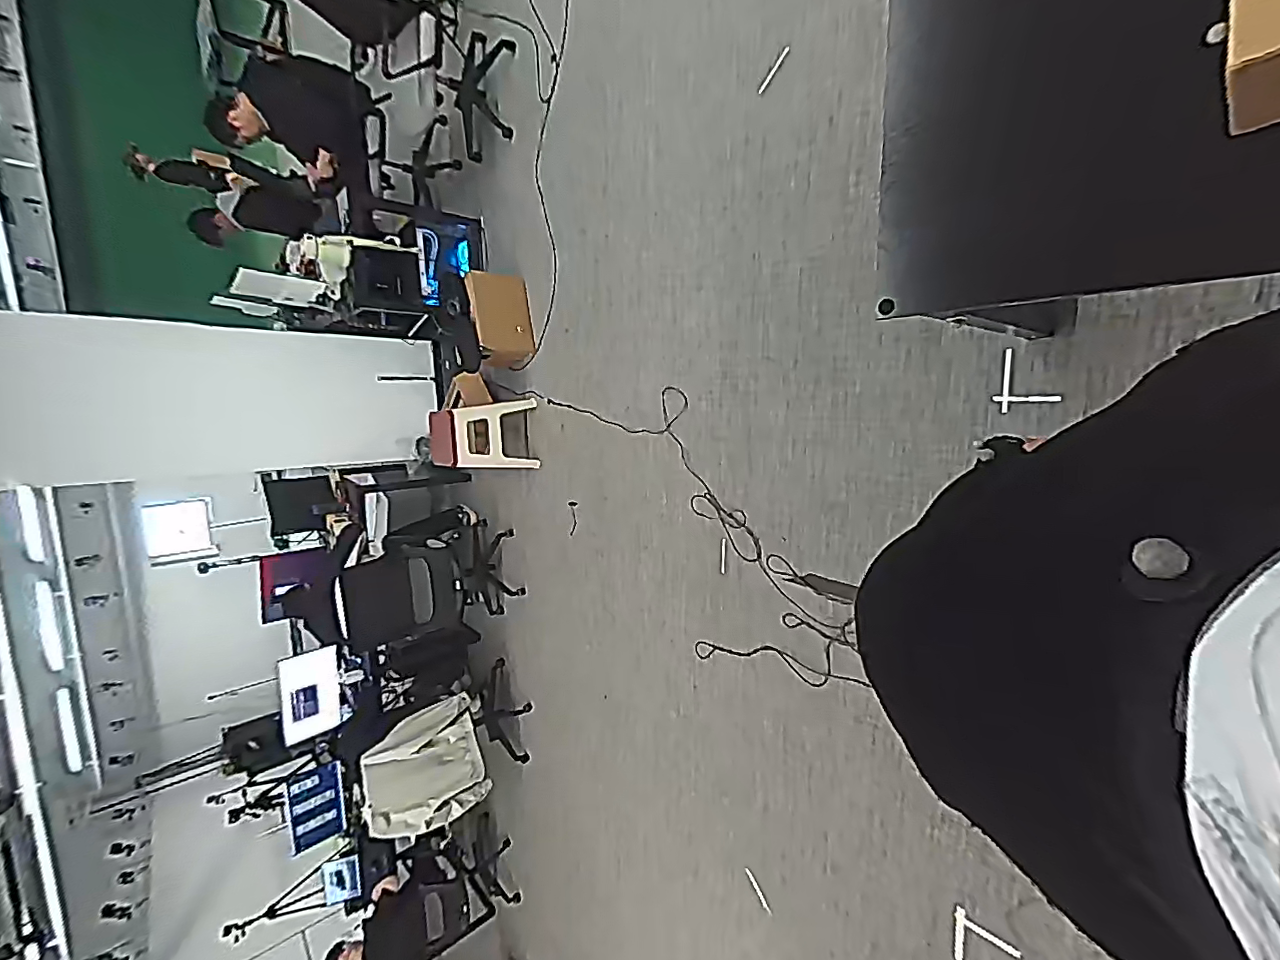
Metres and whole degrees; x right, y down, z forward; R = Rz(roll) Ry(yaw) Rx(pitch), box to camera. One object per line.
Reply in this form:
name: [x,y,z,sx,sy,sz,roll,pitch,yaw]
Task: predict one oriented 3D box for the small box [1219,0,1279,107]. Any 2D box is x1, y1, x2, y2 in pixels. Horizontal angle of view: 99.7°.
small box: [0.565,-0.417,0.405,0.168,0.176,0.179,3,98,50]
